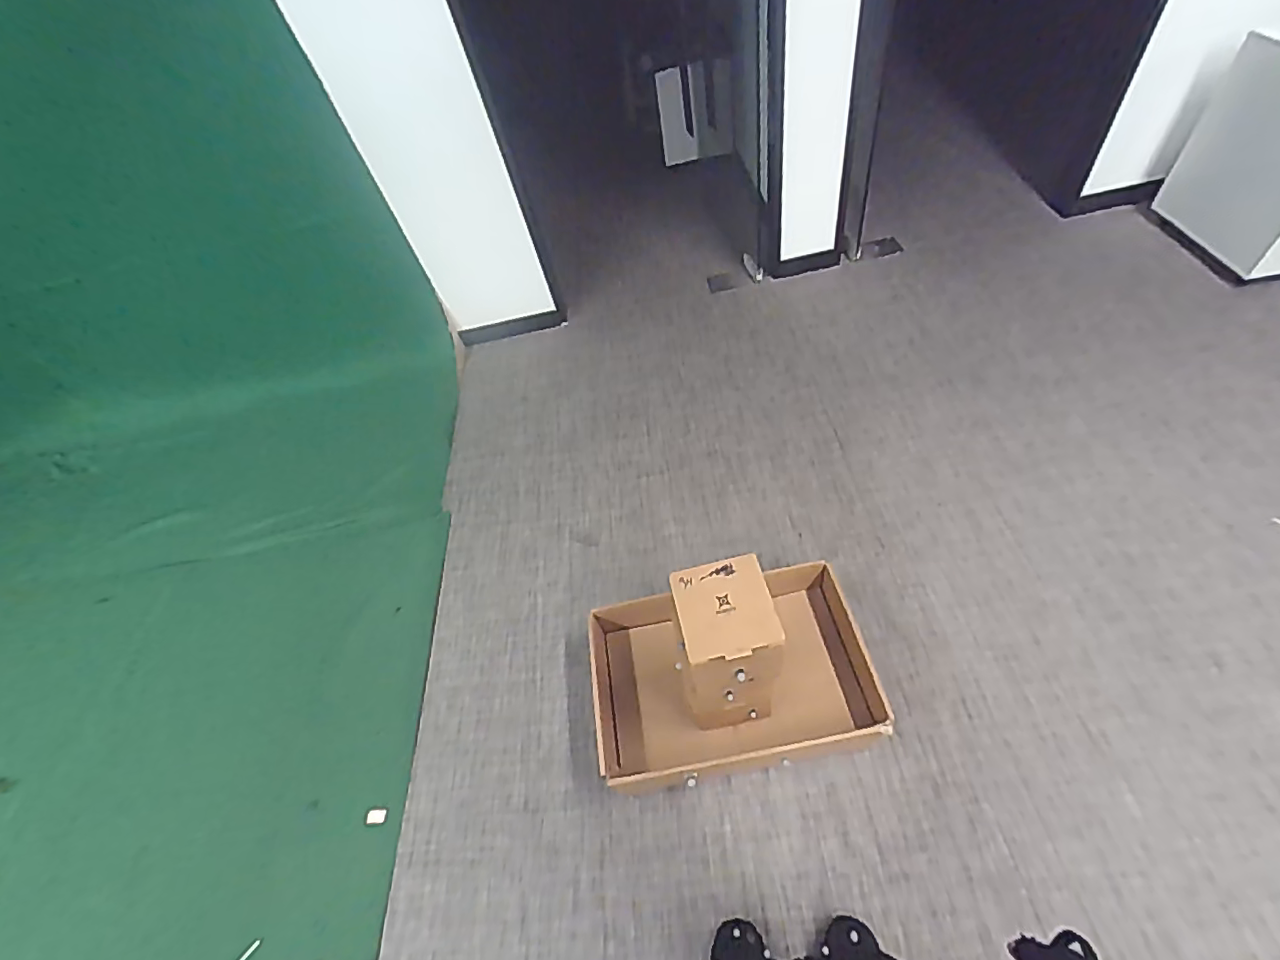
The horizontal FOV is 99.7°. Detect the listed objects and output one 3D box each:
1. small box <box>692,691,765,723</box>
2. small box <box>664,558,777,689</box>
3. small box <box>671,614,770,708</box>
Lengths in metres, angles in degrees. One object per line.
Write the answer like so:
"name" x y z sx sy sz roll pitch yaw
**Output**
"small box" 0.194 0.457 1.273 0.168 0.176 0.179 -12 50 2
"small box" 0.154 0.279 1.024 0.168 0.176 0.179 -16 51 1
"small box" 0.170 0.372 1.154 0.179 0.176 0.168 -12 51 4
